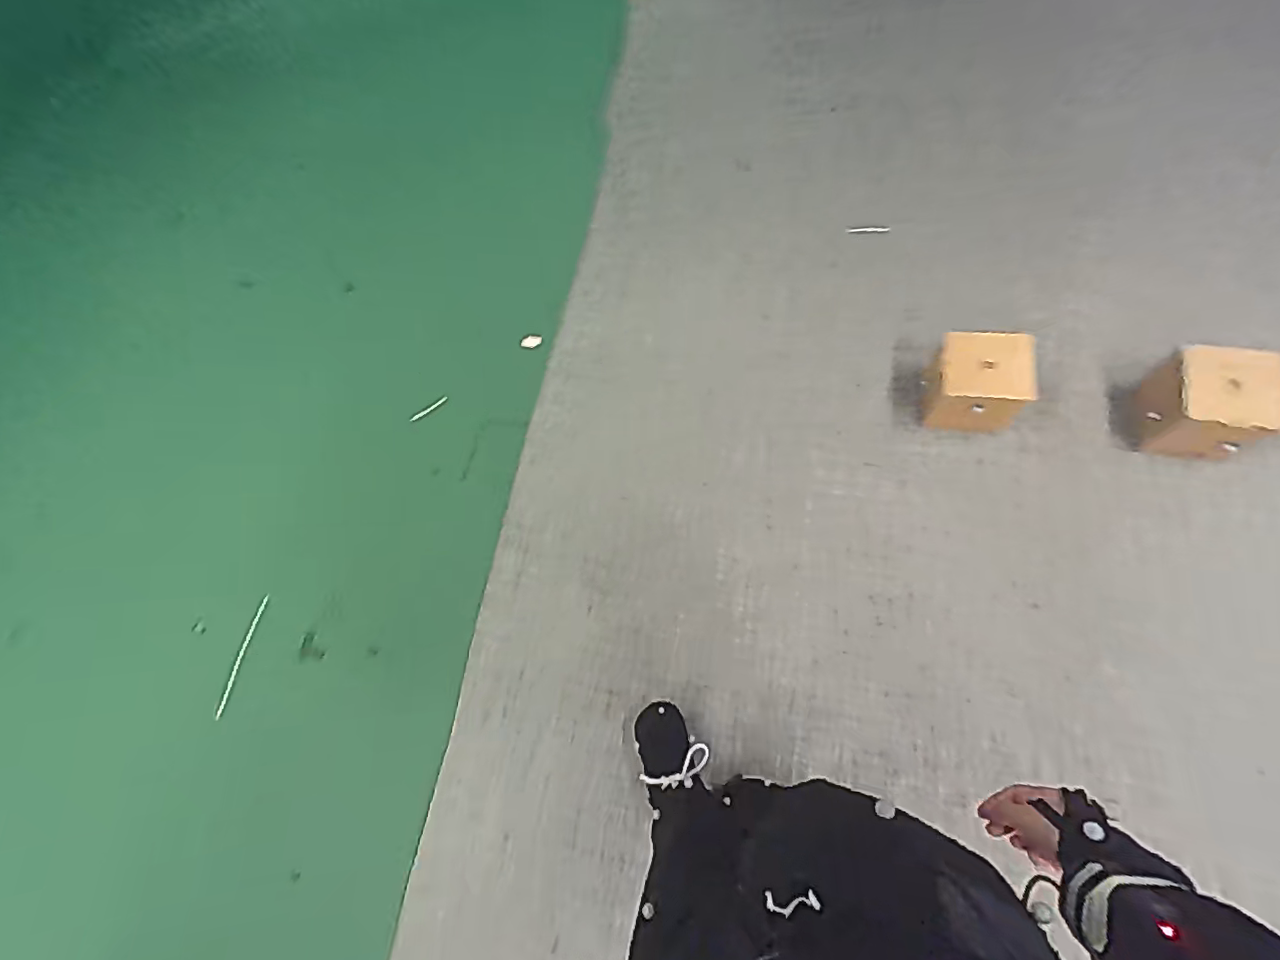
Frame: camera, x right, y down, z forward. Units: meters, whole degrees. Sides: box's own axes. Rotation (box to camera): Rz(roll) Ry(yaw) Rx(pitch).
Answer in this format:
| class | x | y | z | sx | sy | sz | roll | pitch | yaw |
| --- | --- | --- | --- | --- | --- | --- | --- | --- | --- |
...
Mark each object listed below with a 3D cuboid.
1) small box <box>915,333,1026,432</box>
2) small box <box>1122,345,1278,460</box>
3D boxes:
| class | x | y | z | sx | sy | sz | roll | pitch | yaw |
| --- | --- | --- | --- | --- | --- | --- | --- | --- | --- |
| small box | 0.760 | -0.222 | 1.257 | 0.179 | 0.176 | 0.168 | 6 | 70 | 14 |
| small box | 1.172 | -0.159 | 1.149 | 0.168 | 0.176 | 0.179 | 10 | 70 | 14 |
